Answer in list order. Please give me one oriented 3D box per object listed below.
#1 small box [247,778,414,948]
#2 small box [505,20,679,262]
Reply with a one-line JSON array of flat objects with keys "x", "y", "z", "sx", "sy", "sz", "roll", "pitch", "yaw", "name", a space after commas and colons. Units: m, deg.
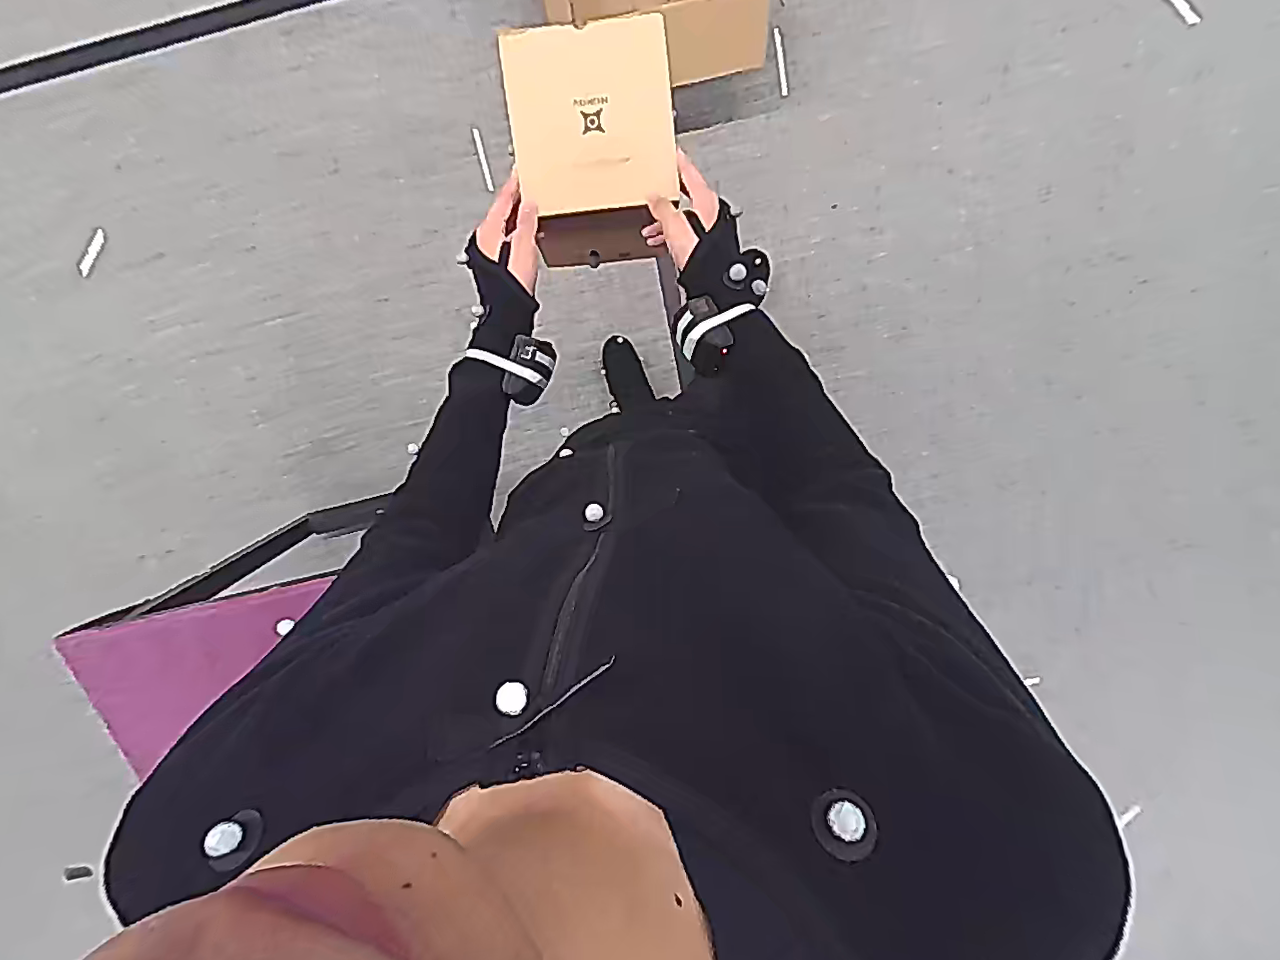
[{"x": -0.553, "y": 0.692, "z": 0.992, "sx": 0.179, "sy": 0.176, "sz": 0.168, "roll": -18, "pitch": 105, "yaw": 3, "name": "small box"}, {"x": -0.051, "y": -0.377, "z": 0.631, "sx": 0.168, "sy": 0.176, "sz": 0.179, "roll": -7, "pitch": 94, "yaw": -1, "name": "small box"}]
